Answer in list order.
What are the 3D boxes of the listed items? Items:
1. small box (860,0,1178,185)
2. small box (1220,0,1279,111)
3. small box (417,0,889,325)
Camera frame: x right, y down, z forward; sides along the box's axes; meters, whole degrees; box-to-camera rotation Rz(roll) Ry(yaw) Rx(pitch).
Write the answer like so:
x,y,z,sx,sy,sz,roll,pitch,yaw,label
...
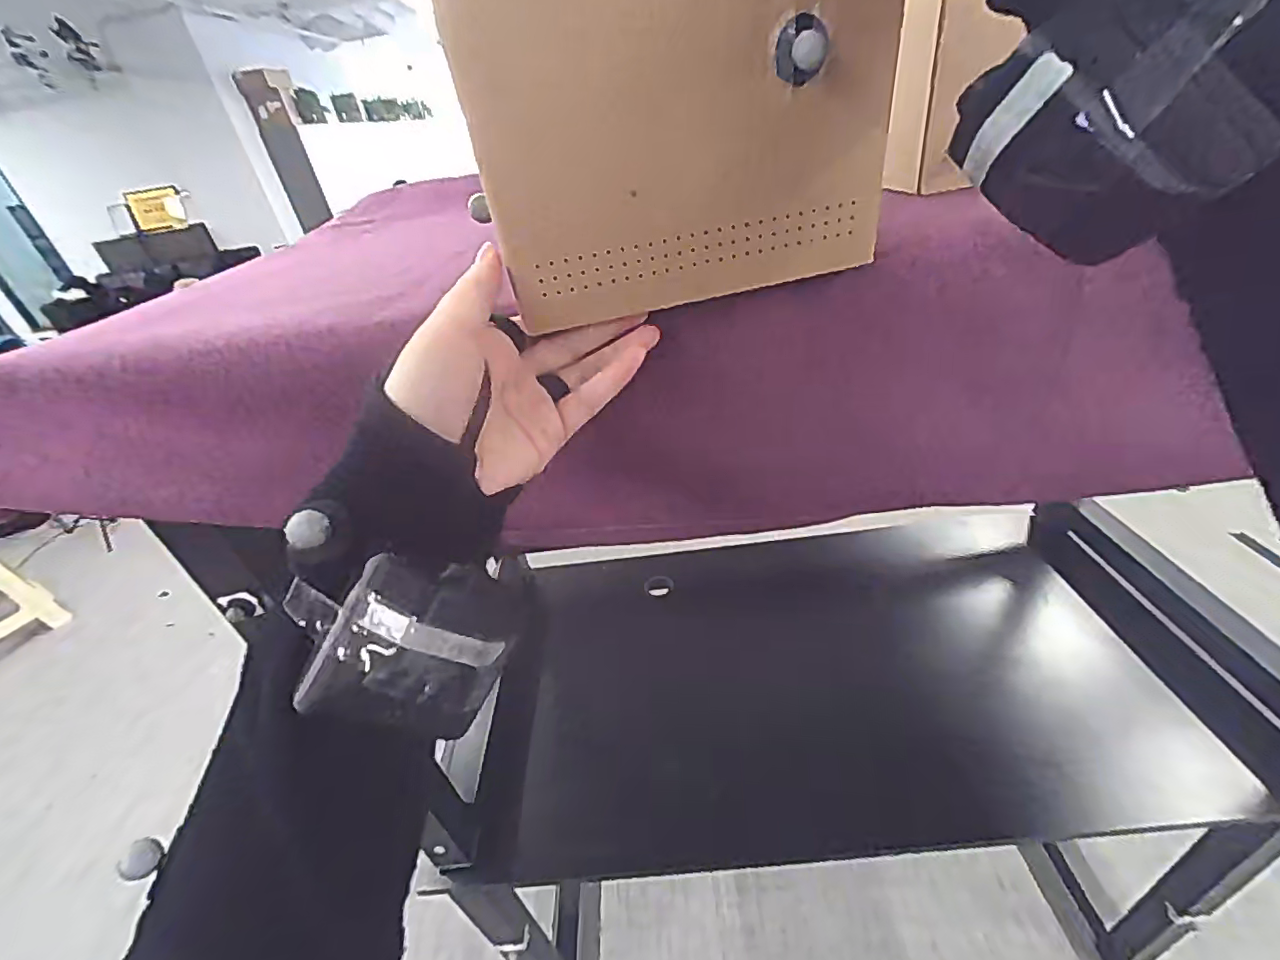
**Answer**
x,y,z,sx,sy,sz,roll,pitch,yaw,label
0.246,-0.324,0.396,0.168,0.176,0.179,-10,33,-1,small box
0.575,-0.360,0.364,0.168,0.176,0.179,-6,34,6,small box
0.001,-0.197,0.265,0.179,0.176,0.168,-14,39,-4,small box
